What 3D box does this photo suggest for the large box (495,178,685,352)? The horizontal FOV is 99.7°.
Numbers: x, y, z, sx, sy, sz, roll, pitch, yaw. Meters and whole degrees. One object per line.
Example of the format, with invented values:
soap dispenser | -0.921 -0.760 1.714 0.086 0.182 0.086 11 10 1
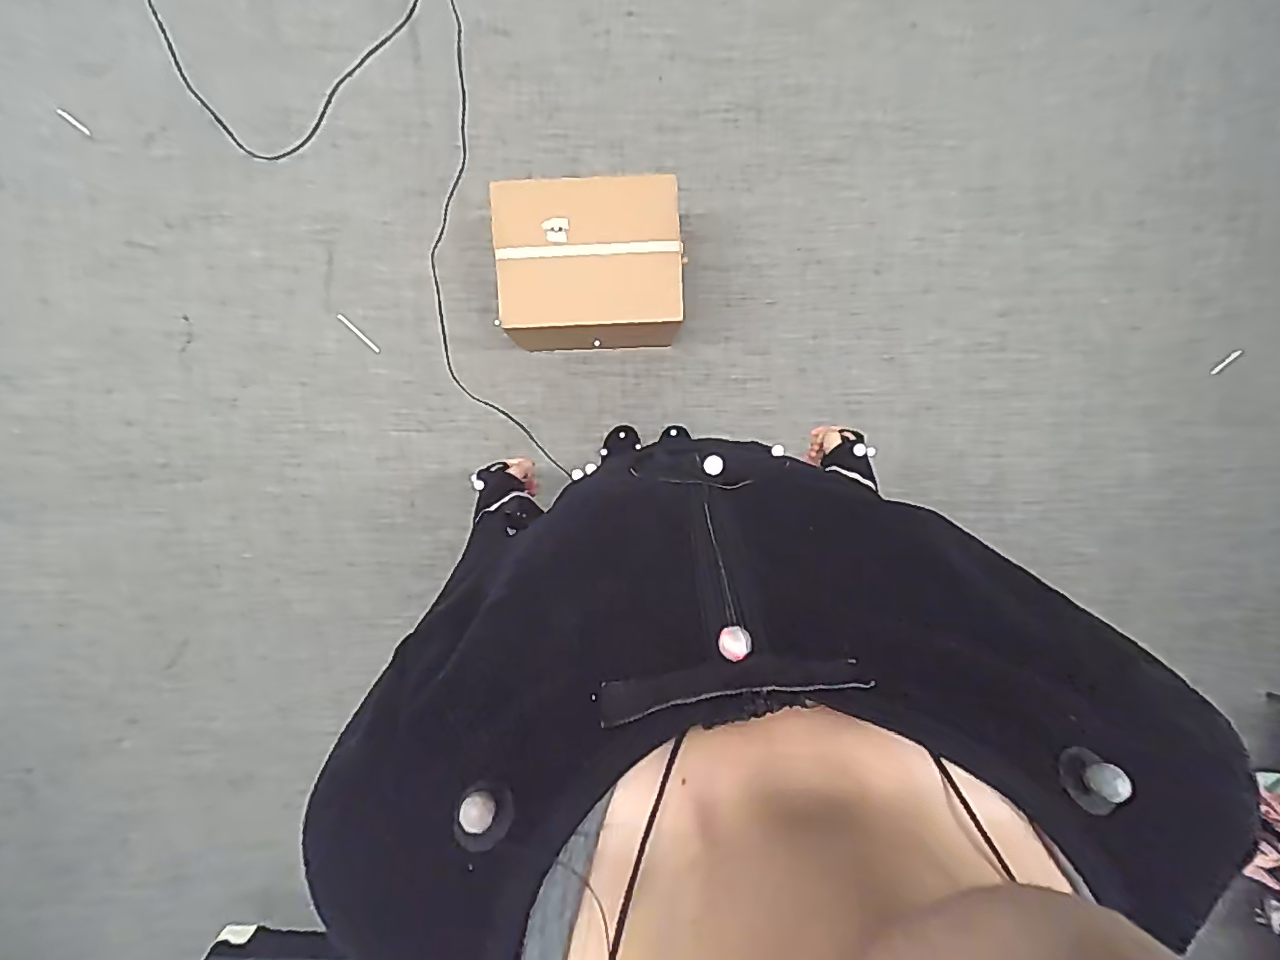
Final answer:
large box | -0.107 -0.499 1.324 0.408 0.320 0.320 -3 93 0
